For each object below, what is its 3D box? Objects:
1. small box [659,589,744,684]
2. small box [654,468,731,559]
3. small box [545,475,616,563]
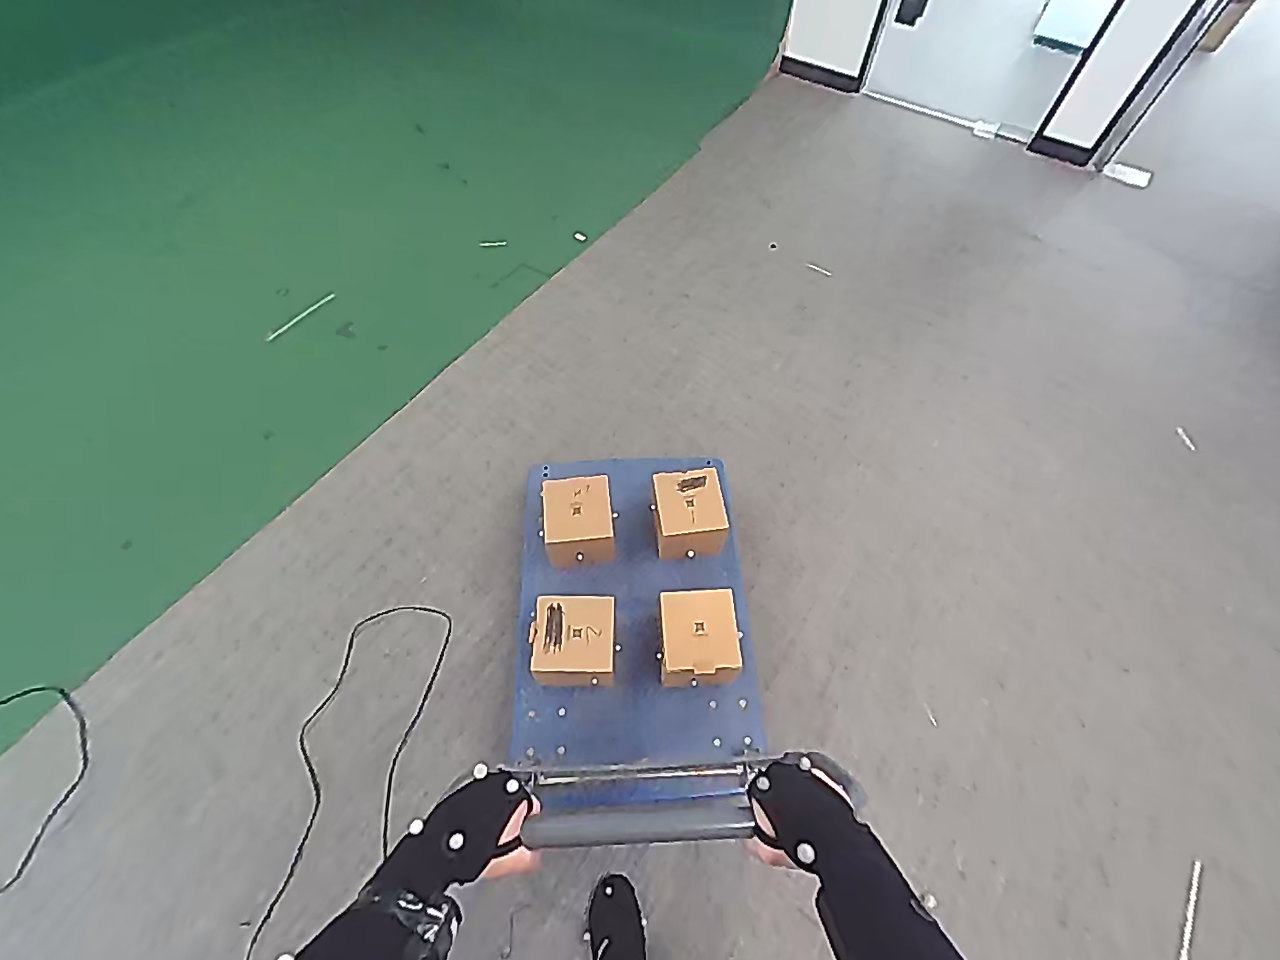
[{"bbox_3d":[0.134,0.365,1.251,0.168,0.176,0.179,-2,61,-2],"label":"small box"},{"bbox_3d":[0.128,0.090,1.408,0.168,0.176,0.179,-6,61,-4],"label":"small box"},{"bbox_3d":[-0.151,0.107,1.393,0.168,0.176,0.179,-5,60,-5],"label":"small box"}]
